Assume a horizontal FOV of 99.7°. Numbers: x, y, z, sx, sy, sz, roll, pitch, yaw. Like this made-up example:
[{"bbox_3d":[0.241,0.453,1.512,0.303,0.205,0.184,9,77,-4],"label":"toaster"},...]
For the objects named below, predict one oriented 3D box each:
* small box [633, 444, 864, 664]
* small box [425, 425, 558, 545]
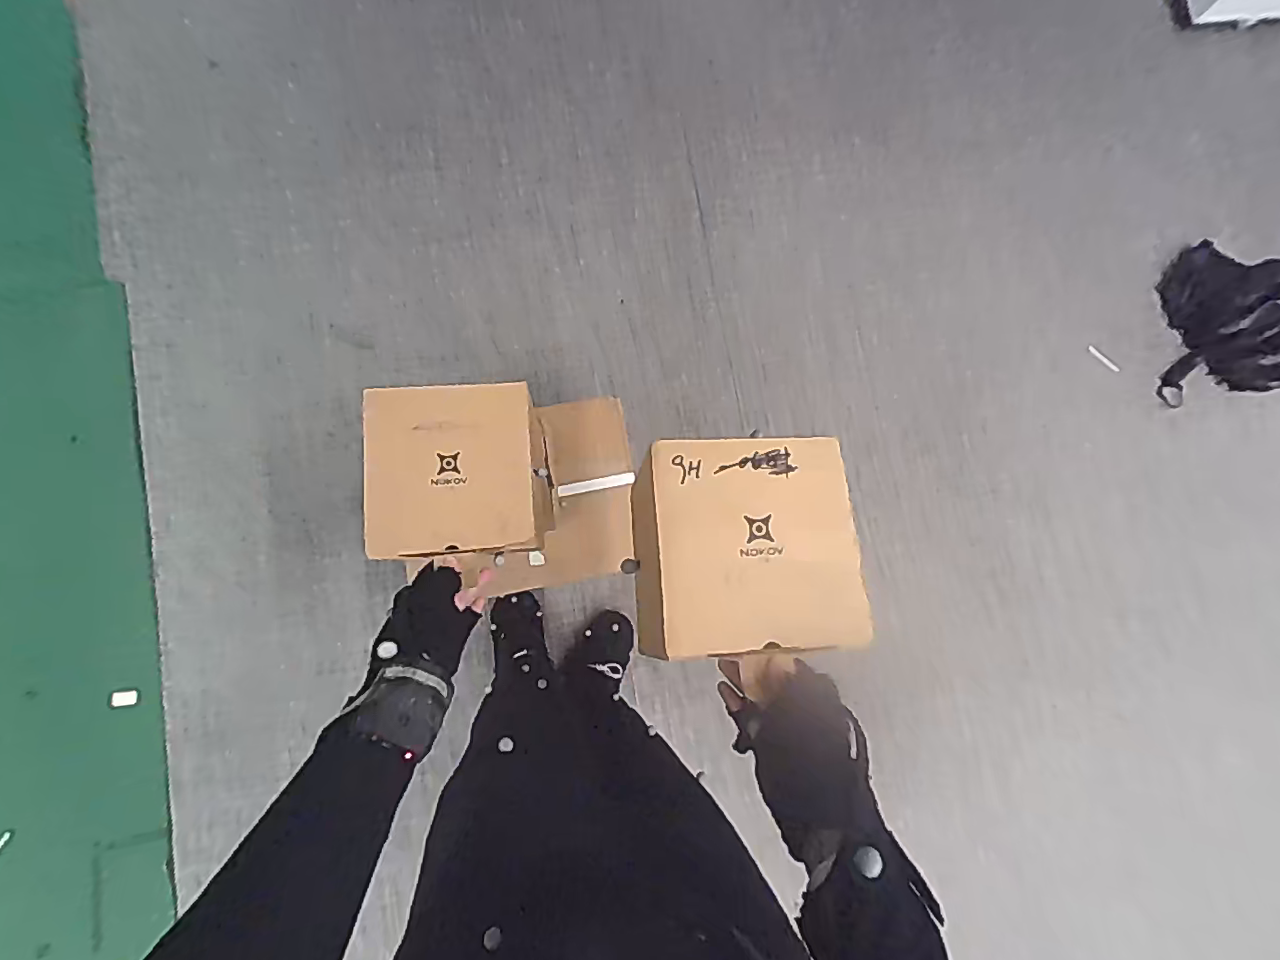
[{"bbox_3d":[0.085,0.075,0.518,0.168,0.176,0.179,-2,74,-8],"label":"small box"},{"bbox_3d":[-0.220,0.008,0.843,0.179,0.176,0.168,-4,87,-6],"label":"small box"}]
